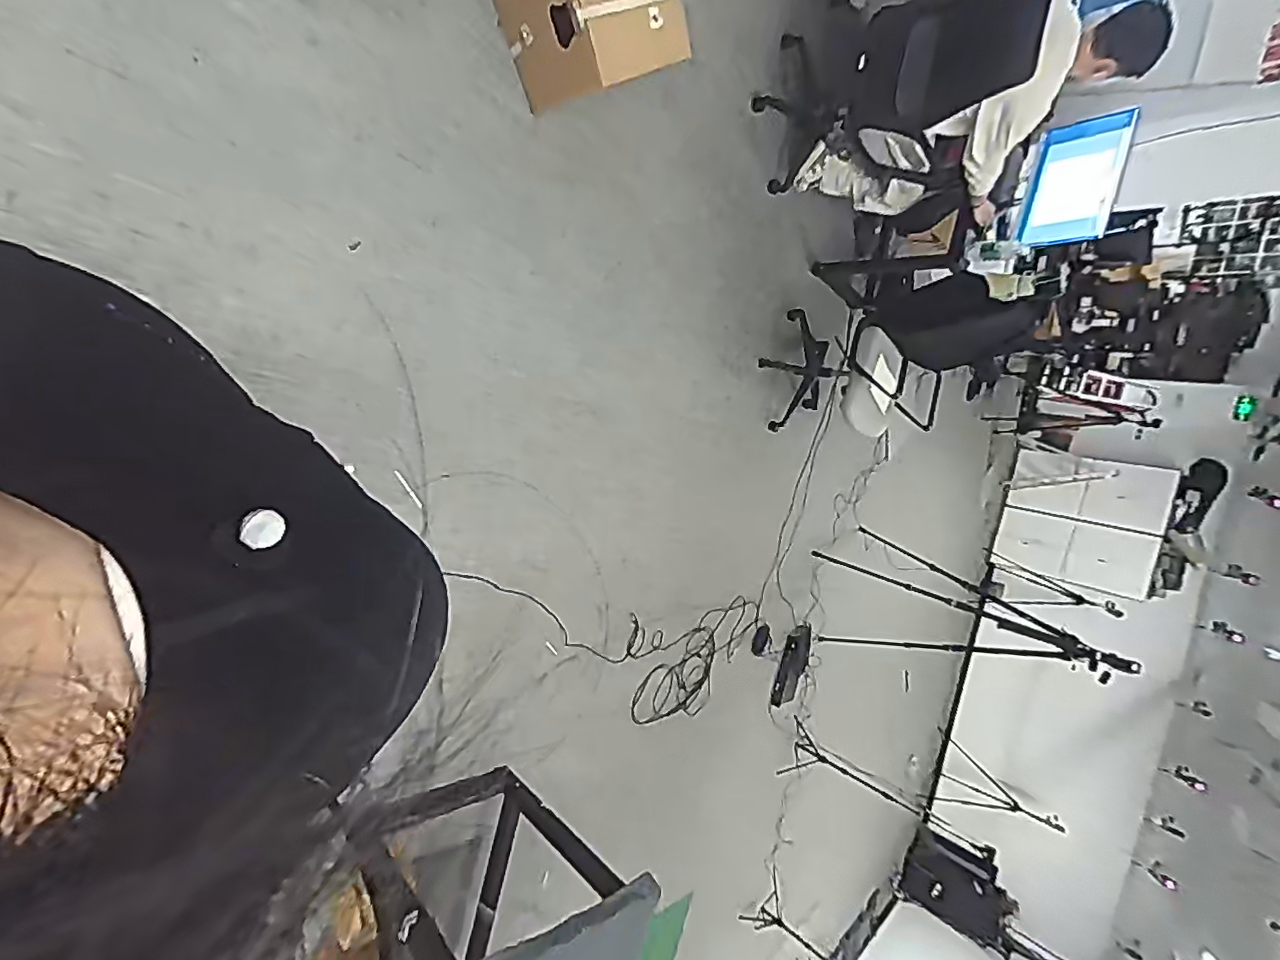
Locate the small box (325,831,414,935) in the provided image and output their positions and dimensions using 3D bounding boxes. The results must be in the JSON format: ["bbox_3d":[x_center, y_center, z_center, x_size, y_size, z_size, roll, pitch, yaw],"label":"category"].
[{"bbox_3d":[-0.831,1.221,1.655,0.179,0.176,0.168,18,88,-49],"label":"small box"}]
